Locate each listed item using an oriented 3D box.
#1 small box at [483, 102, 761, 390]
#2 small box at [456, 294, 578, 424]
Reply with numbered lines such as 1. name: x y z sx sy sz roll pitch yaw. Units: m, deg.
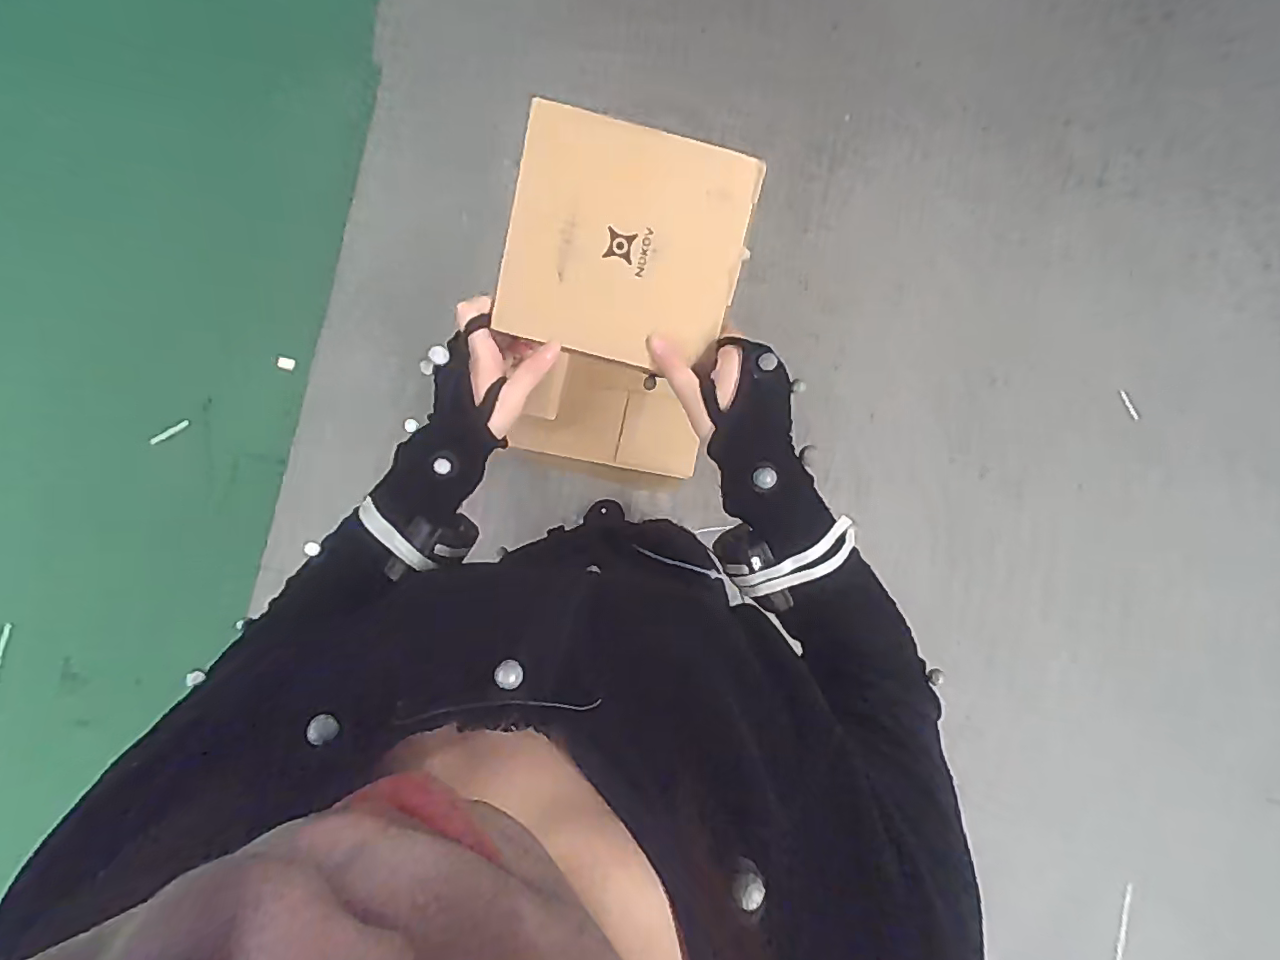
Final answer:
1. small box: -0.016 -0.185 0.480 0.179 0.176 0.168 15 100 -3
2. small box: -0.211 -0.208 0.983 0.168 0.176 0.179 13 89 -2
